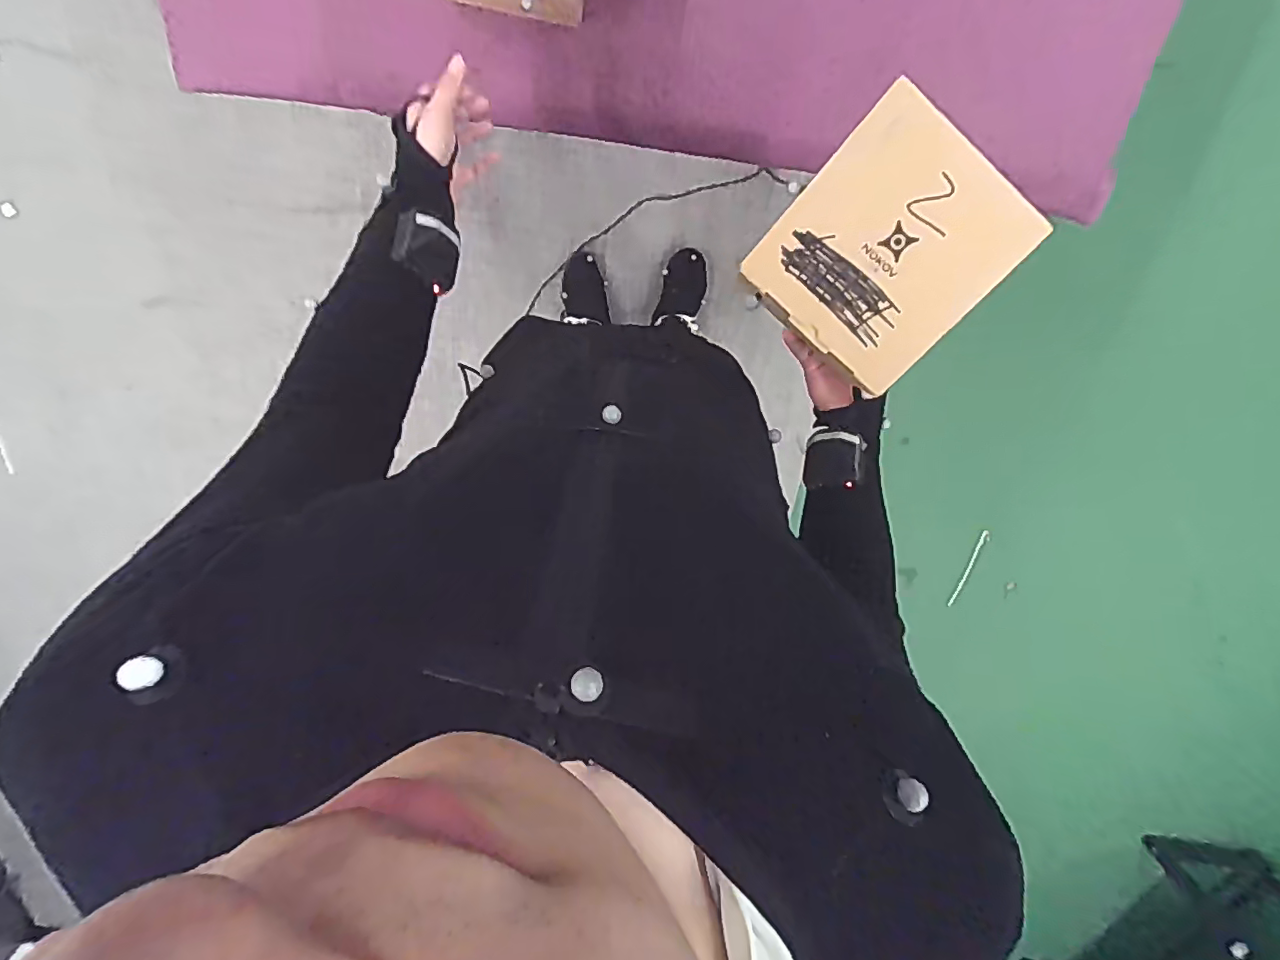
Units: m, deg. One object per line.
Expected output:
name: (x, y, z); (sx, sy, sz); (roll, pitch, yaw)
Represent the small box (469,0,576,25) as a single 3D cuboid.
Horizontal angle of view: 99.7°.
small box: (-0.145, -0.607, 0.548); (0.168, 0.176, 0.179); (9, 114, -6)
